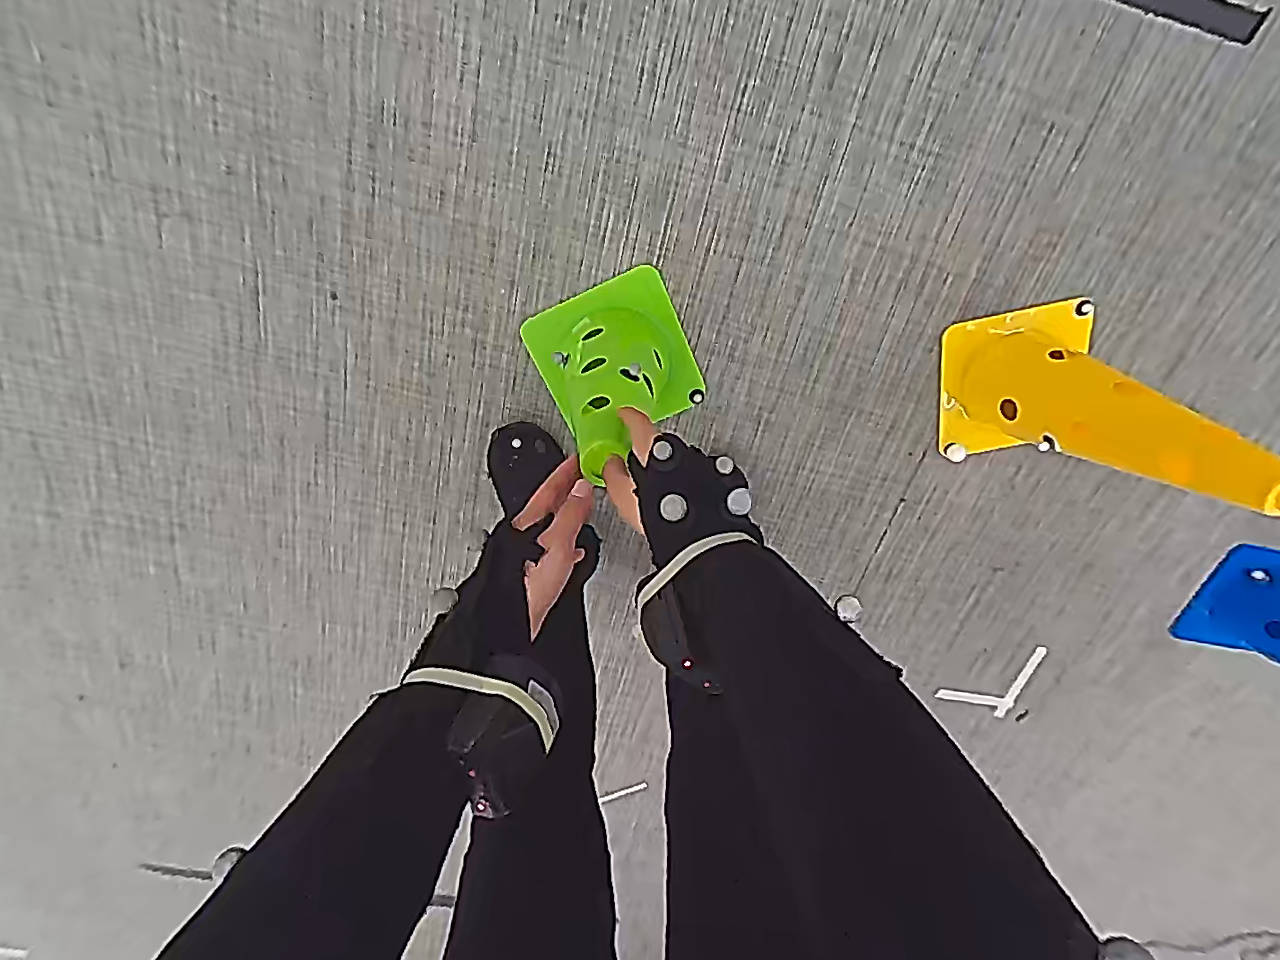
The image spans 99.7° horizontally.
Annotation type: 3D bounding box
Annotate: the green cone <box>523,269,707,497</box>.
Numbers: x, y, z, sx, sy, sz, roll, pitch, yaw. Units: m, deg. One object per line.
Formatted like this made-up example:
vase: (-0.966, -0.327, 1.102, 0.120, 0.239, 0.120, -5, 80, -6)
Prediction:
green cone: (-0.030, -0.083, 0.573, 0.202, 0.368, 0.200, -23, 112, 10)
